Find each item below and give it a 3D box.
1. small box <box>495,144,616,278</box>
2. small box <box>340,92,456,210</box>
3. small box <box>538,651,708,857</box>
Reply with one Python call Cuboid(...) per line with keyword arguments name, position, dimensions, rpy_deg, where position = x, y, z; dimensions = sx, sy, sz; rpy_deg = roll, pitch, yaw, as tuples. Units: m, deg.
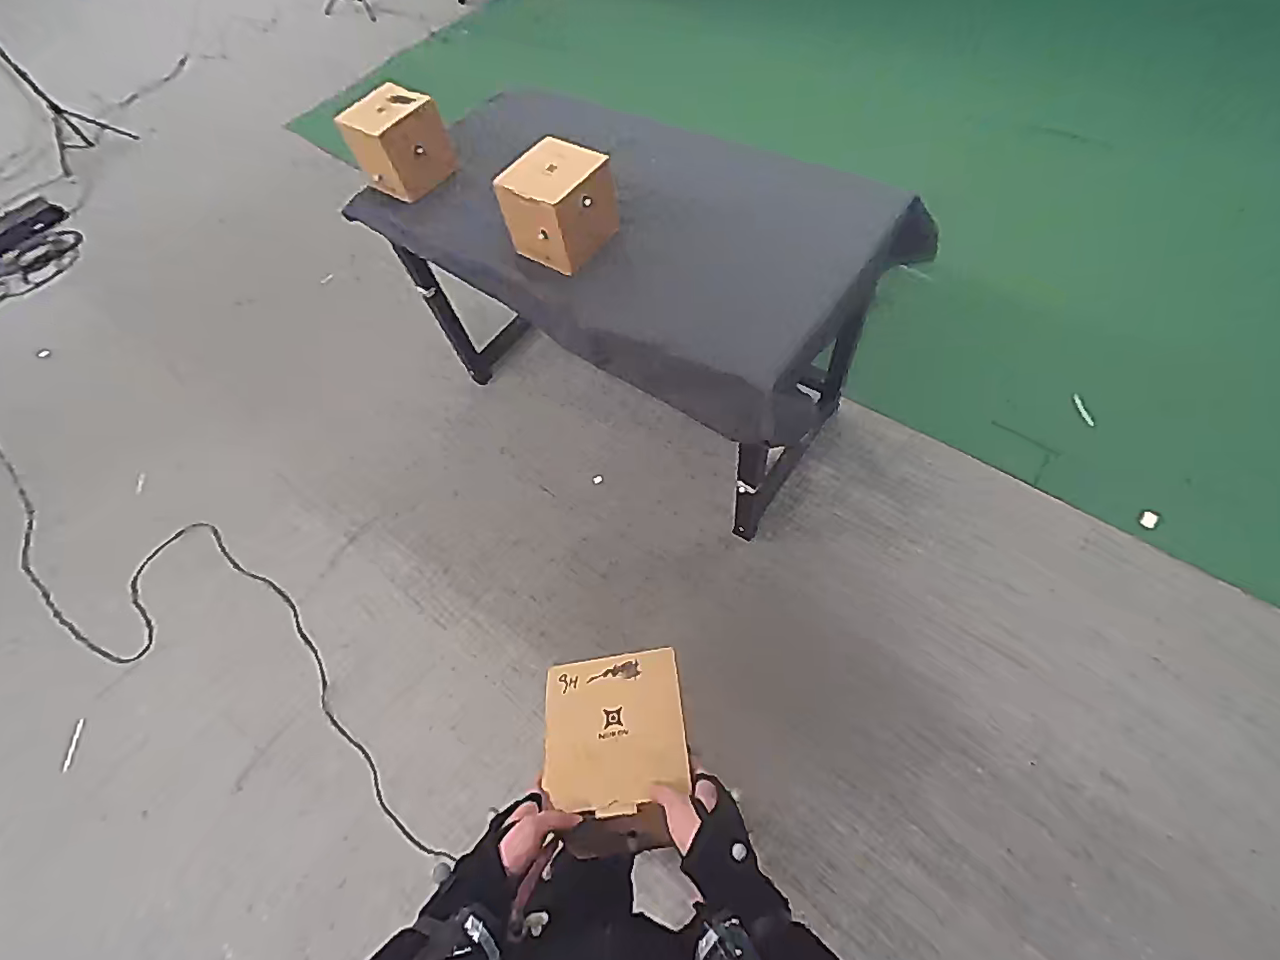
Cuboid(name="small box", position=(-0.165, -0.561, 1.137), dimensions=(0.168, 0.176, 0.179), rpy_deg=(30, 67, 21))
Cuboid(name="small box", position=(-0.581, -0.809, 1.333), dimensions=(0.168, 0.176, 0.179), rpy_deg=(31, 69, 22))
Cuboid(name="small box", position=(-0.016, 0.338, 0.659), dimensions=(0.168, 0.176, 0.179), rpy_deg=(-10, 43, 4))
